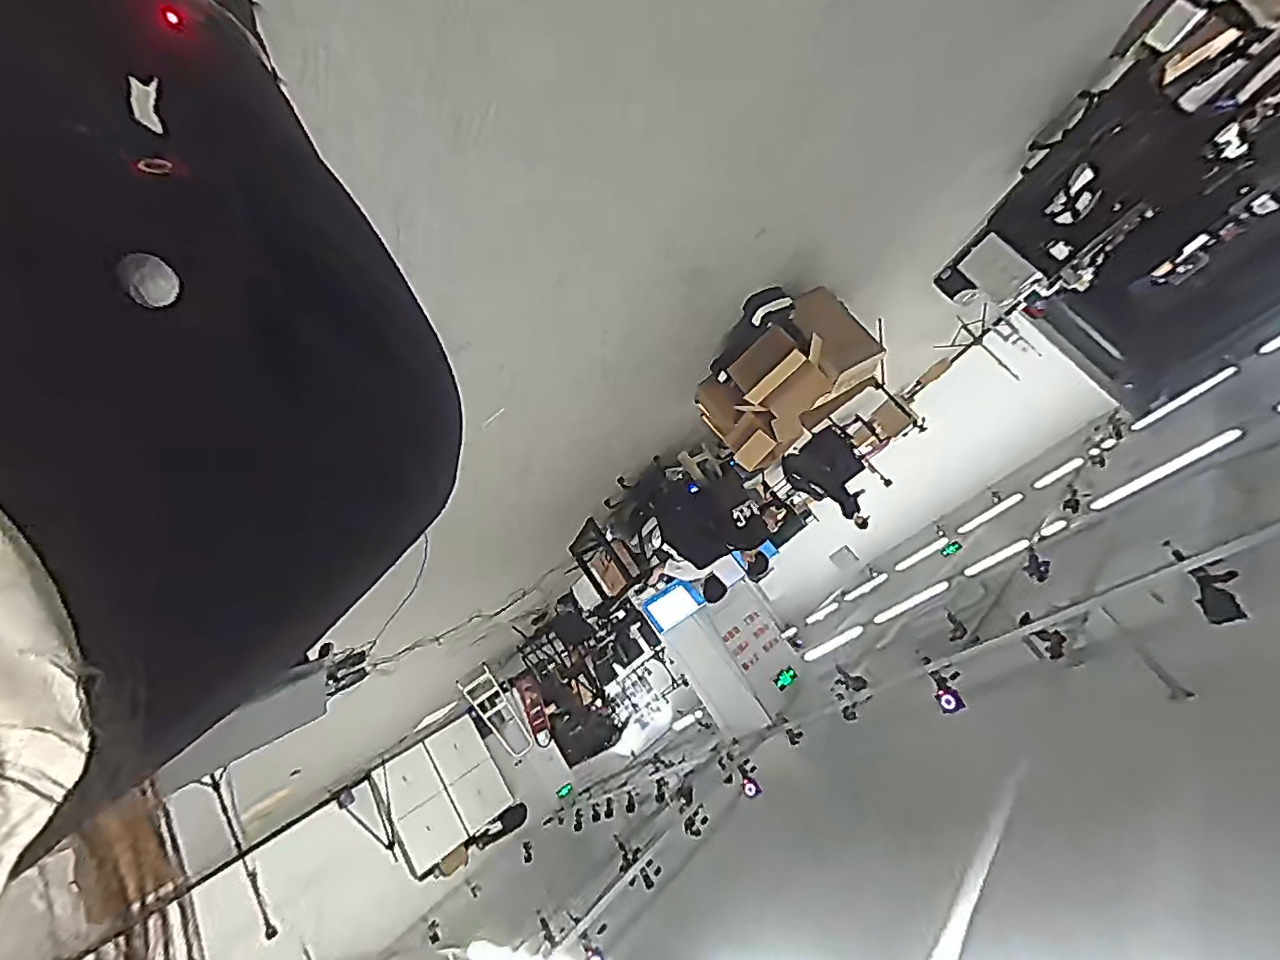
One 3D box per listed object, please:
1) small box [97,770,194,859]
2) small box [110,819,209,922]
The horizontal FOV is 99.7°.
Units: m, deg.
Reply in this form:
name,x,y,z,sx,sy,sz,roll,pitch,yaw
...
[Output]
name,x,y,z,sx,sy,sz,roll,pitch,yaw
small box,-1.489,1.009,1.631,0.168,0.176,0.179,-22,158,-39
small box,-1.397,1.133,1.573,0.179,0.176,0.168,-22,158,-42
